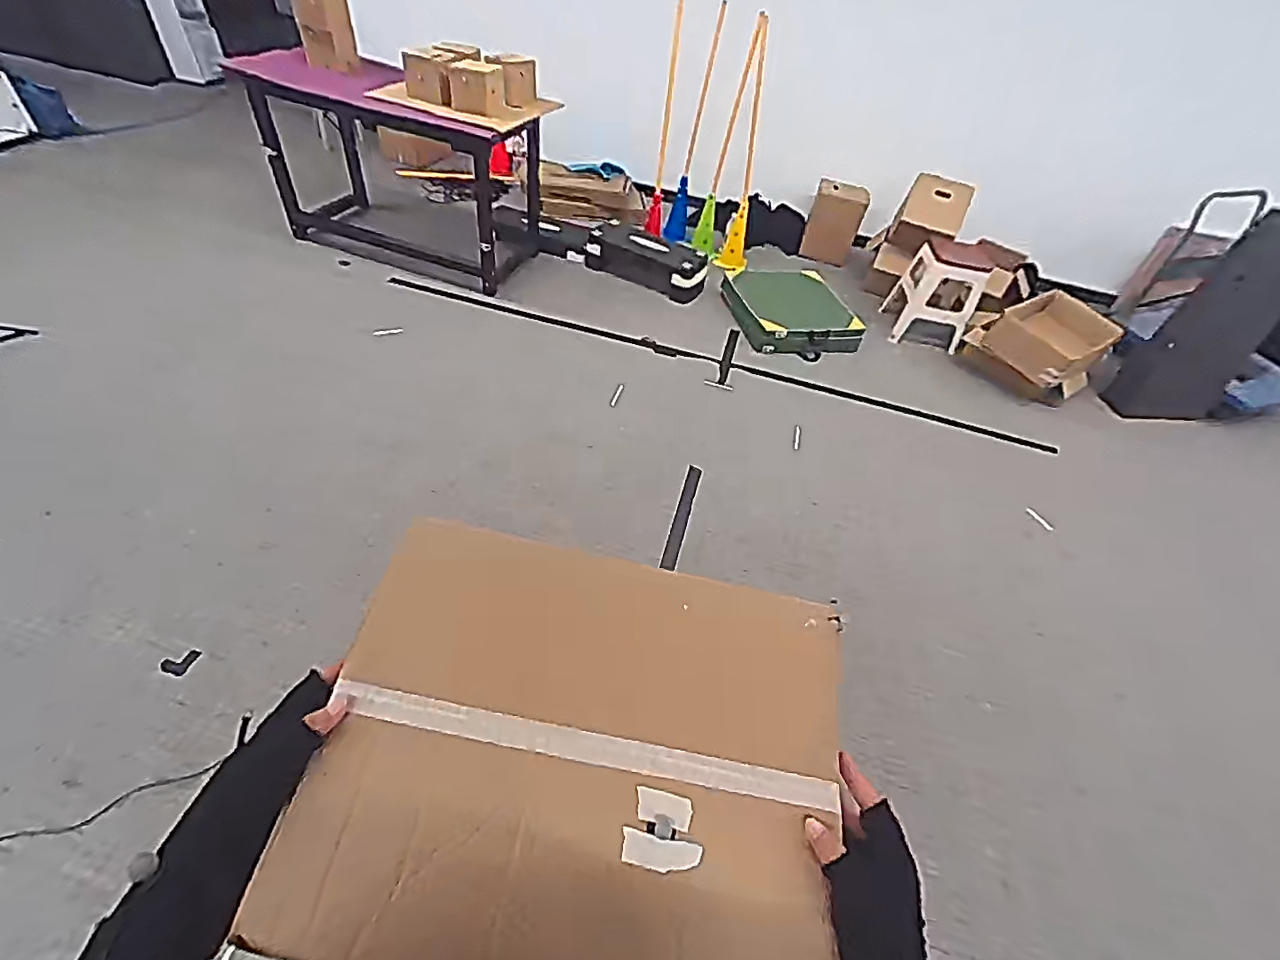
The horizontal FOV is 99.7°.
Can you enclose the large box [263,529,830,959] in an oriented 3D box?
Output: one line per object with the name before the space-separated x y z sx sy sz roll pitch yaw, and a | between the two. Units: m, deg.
large box | -0.058 0.285 0.570 0.408 0.320 0.320 13 61 -1
